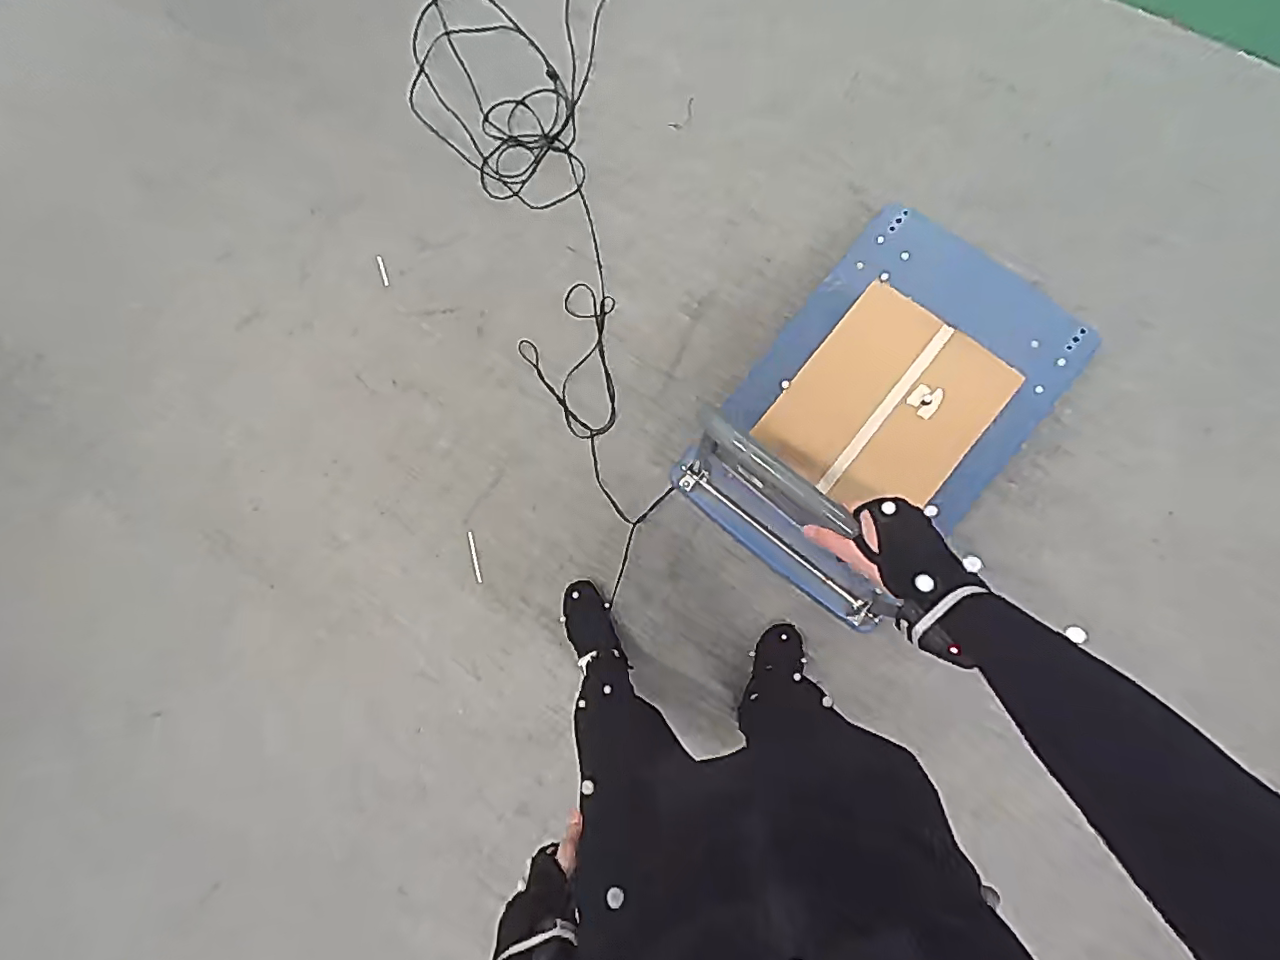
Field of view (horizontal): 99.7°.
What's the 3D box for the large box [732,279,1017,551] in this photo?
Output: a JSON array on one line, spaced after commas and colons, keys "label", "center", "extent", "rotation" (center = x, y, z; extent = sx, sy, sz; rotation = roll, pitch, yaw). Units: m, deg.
[{"label": "large box", "center": [0.434, -0.103, 1.104], "extent": [0.320, 0.320, 0.408], "rotation": [39, 88, 8]}]
